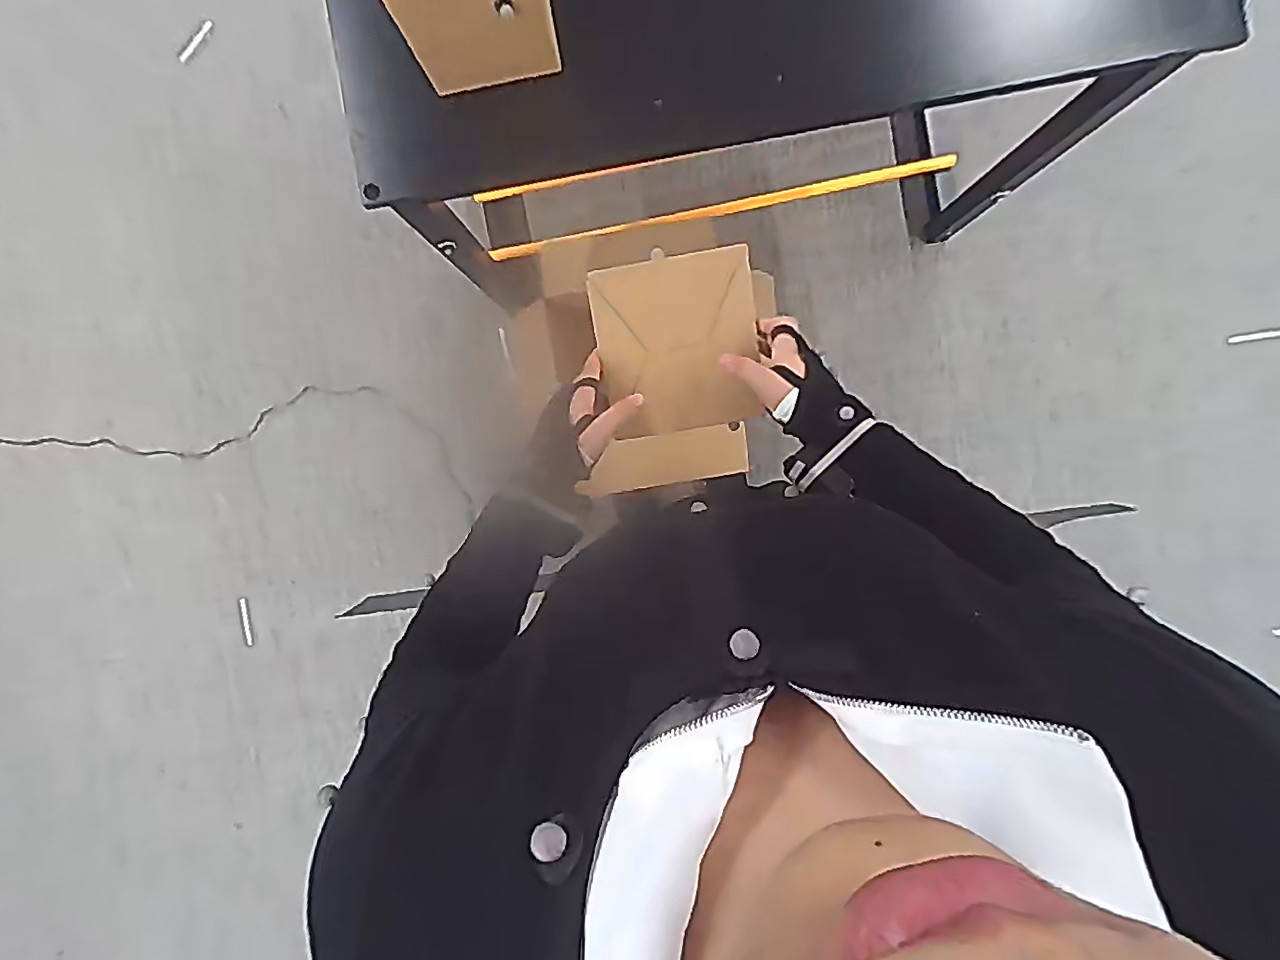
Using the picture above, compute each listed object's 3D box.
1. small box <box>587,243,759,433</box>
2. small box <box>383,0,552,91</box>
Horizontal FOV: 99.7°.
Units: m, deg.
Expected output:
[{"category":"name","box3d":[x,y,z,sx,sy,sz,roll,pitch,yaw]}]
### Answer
[{"category":"small box","box3d":[0.039,-0.161,0.637,0.168,0.176,0.179,-9,105,4]},{"category":"small box","box3d":[-0.212,-0.624,0.662,0.179,0.176,0.168,-10,92,2]}]
